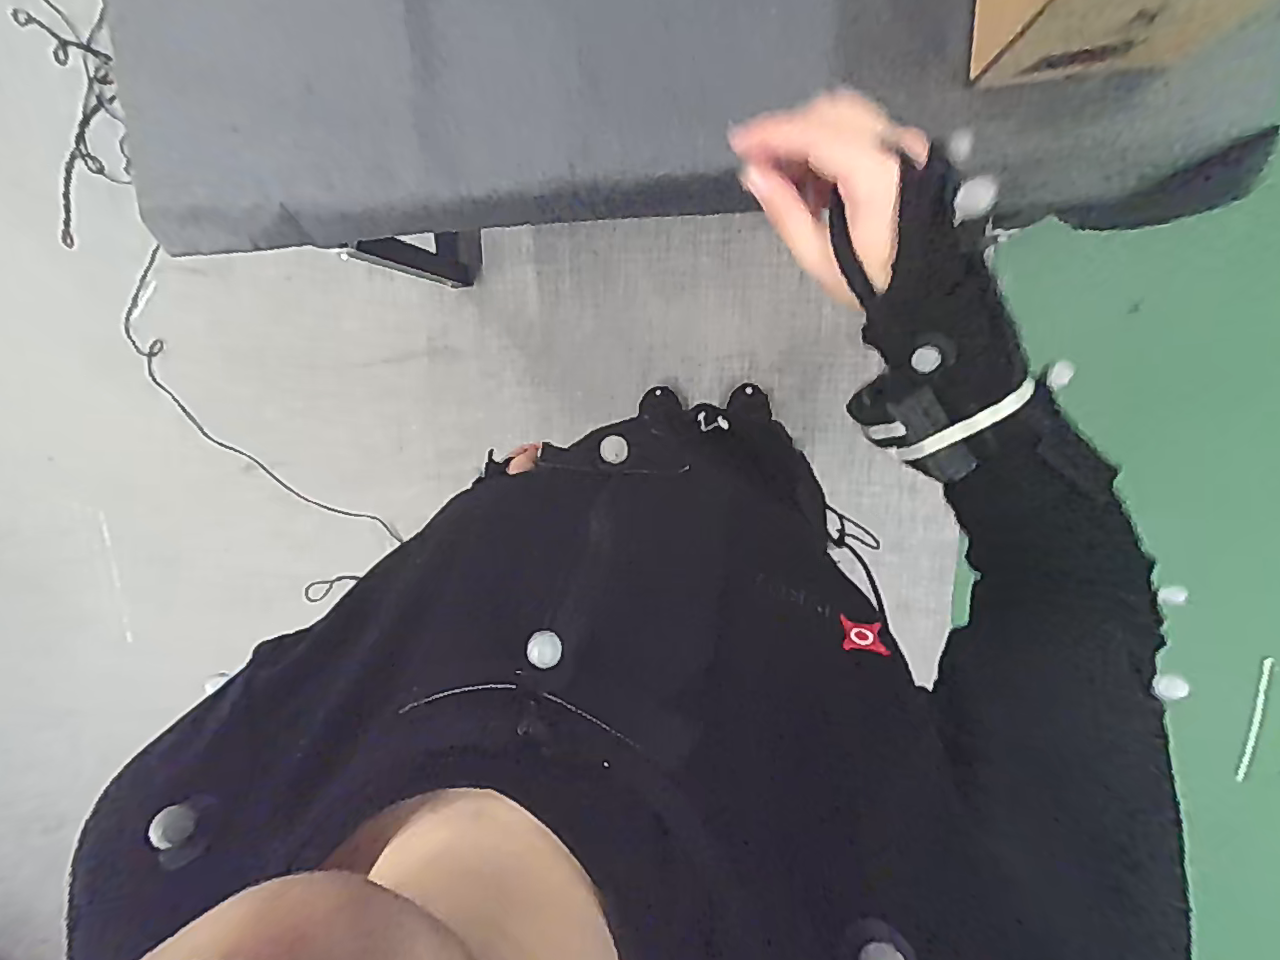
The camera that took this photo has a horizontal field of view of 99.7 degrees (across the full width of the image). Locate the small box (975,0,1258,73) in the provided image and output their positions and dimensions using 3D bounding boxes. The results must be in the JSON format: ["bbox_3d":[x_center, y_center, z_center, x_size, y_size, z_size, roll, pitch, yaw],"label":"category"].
[{"bbox_3d":[0.367,-0.429,0.379,0.168,0.179,0.176,-1,105,10],"label":"small box"}]
